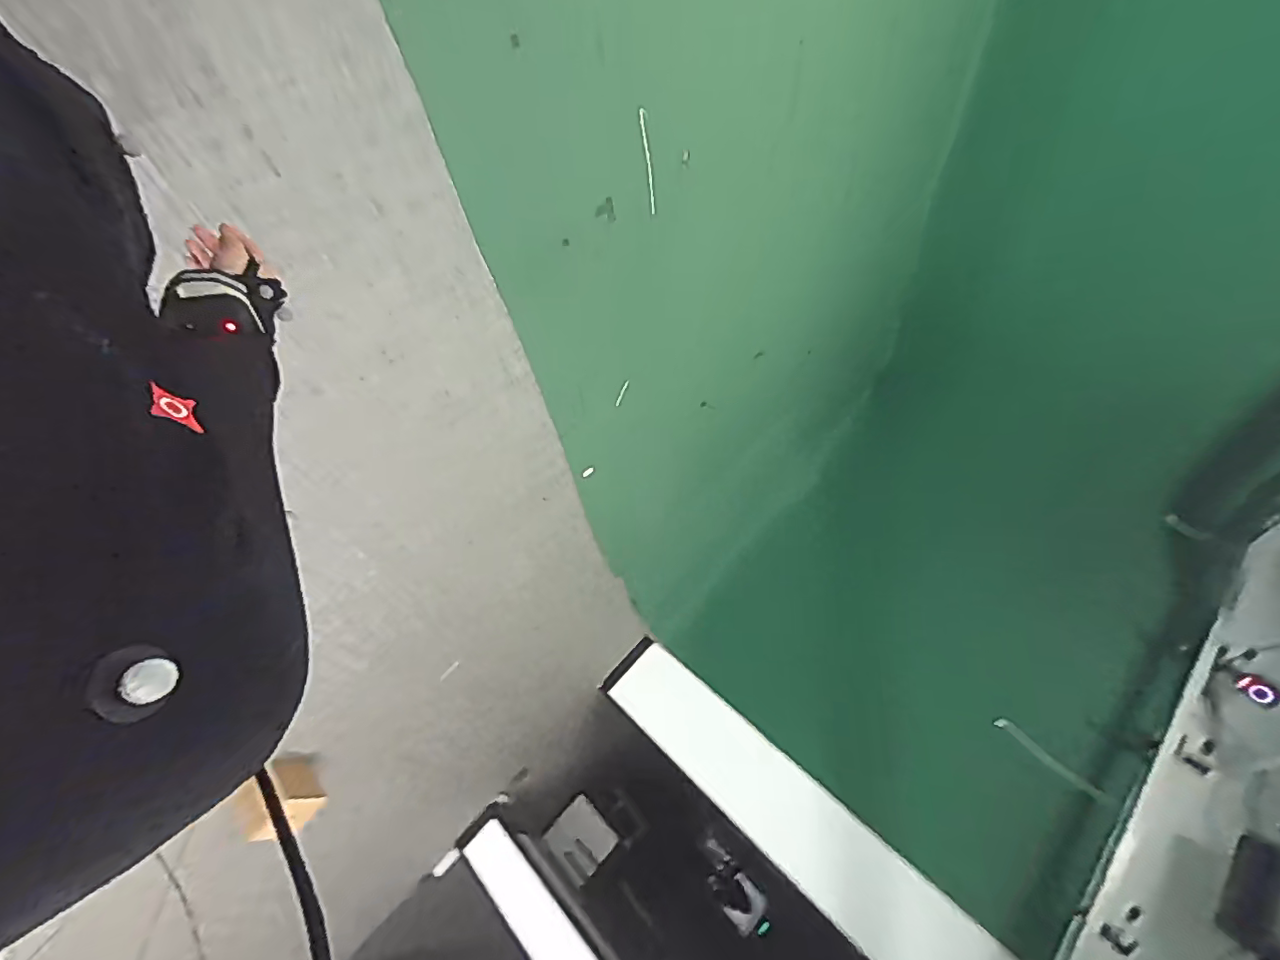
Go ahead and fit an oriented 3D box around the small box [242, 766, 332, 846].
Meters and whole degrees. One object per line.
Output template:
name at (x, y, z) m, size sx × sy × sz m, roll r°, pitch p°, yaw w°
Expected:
small box at (-1.220, 1.115, 1.863) m, size 0.168 × 0.176 × 0.179 m, roll -49°, pitch 149°, yaw -9°
